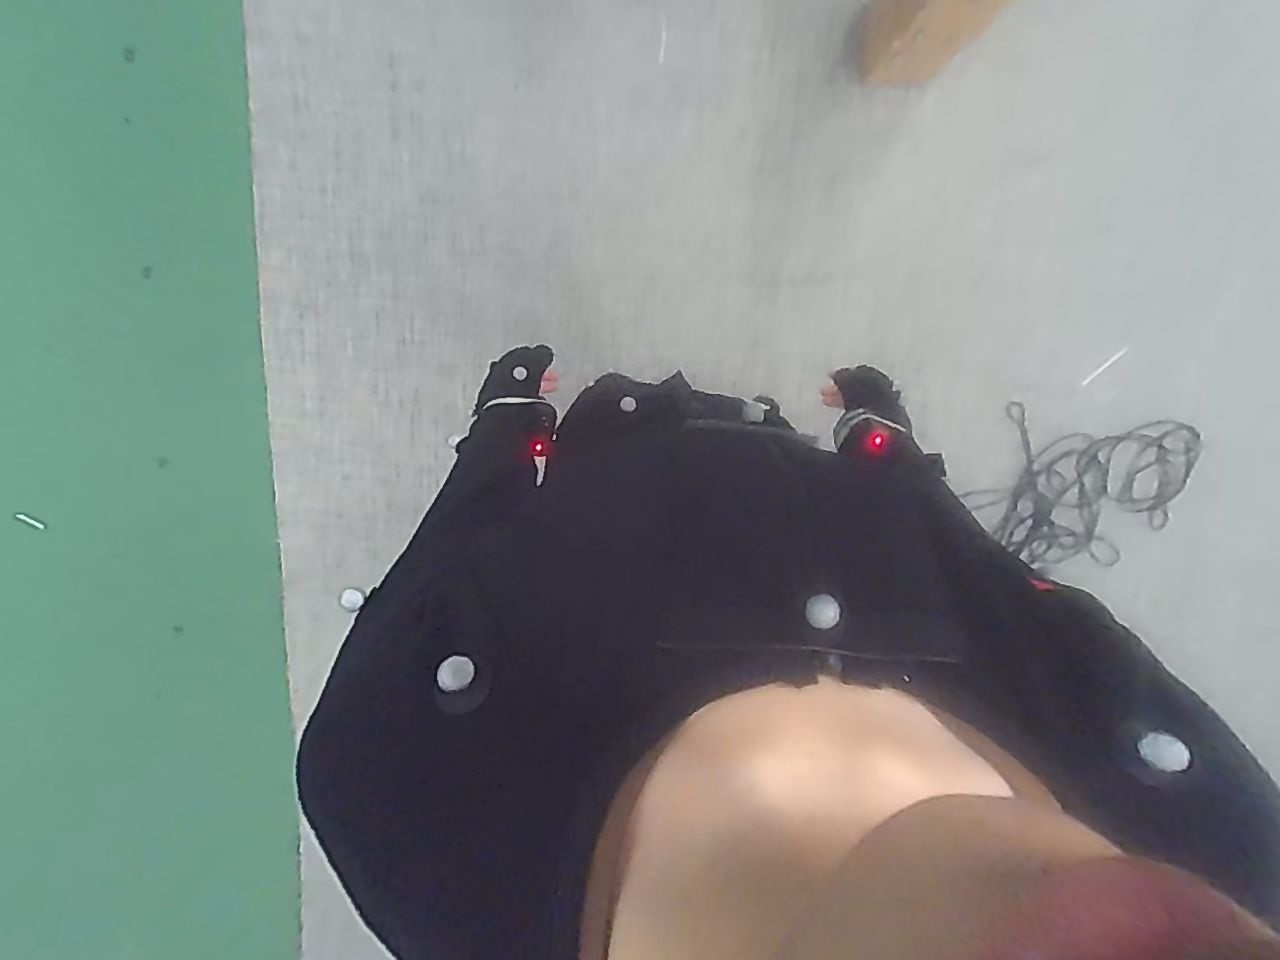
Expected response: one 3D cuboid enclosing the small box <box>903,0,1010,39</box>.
[{"bbox_3d":[0.624,-0.988,1.035,0.168,0.176,0.179,0,99,0],"label":"small box"}]
